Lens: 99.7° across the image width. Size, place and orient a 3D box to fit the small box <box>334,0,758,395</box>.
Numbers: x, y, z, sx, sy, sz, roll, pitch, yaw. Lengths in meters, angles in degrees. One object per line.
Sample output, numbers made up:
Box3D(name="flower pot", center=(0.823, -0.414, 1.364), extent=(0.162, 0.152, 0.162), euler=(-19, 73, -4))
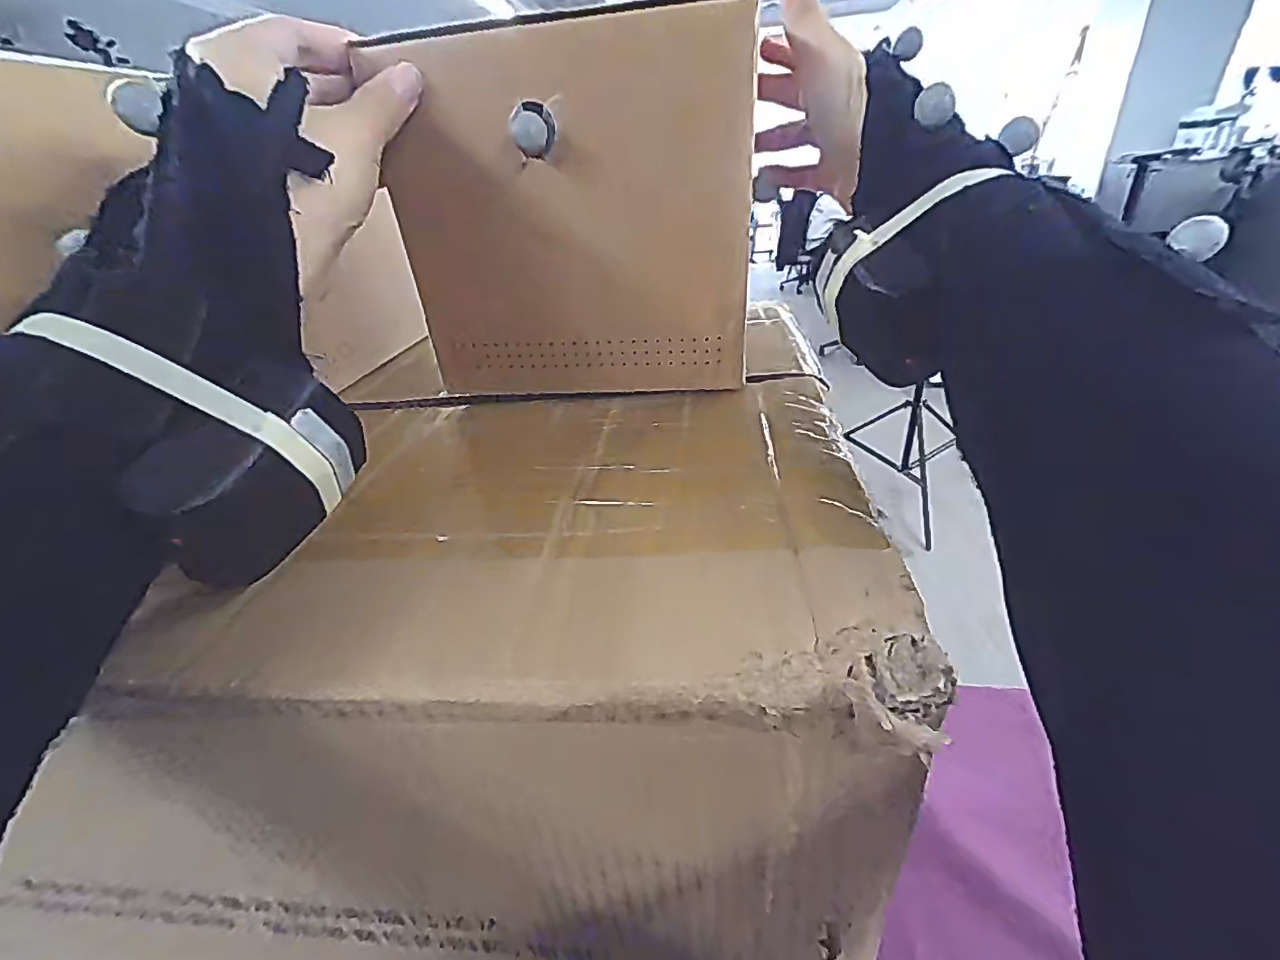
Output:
Box3D(name="small box", center=(-0.026, -0.159, 0.321), extent=(0.179, 0.176, 0.168), euler=(0, 34, 9))

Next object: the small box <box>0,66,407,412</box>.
Box3D(name="small box", center=(-0.282, -0.154, 0.364), extent=(0.168, 0.176, 0.179), euler=(-1, 30, 8))
